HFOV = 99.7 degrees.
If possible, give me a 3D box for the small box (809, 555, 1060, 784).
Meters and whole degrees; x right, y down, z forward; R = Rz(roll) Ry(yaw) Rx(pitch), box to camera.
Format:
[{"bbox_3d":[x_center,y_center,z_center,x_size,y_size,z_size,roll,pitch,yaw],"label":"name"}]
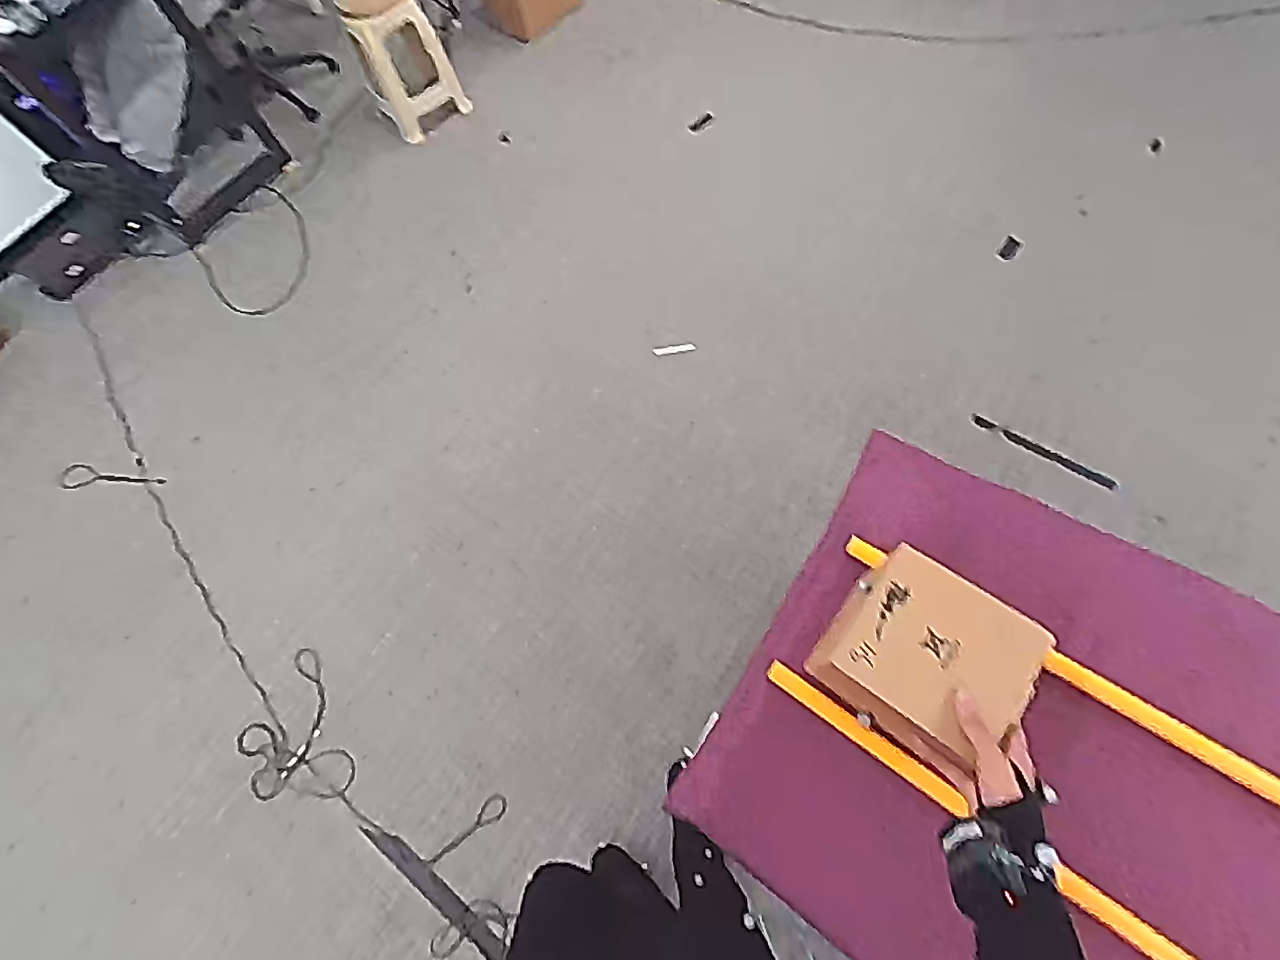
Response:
[{"bbox_3d":[0.329,0.218,0.643,0.179,0.176,0.168,36,76,18],"label":"small box"}]
